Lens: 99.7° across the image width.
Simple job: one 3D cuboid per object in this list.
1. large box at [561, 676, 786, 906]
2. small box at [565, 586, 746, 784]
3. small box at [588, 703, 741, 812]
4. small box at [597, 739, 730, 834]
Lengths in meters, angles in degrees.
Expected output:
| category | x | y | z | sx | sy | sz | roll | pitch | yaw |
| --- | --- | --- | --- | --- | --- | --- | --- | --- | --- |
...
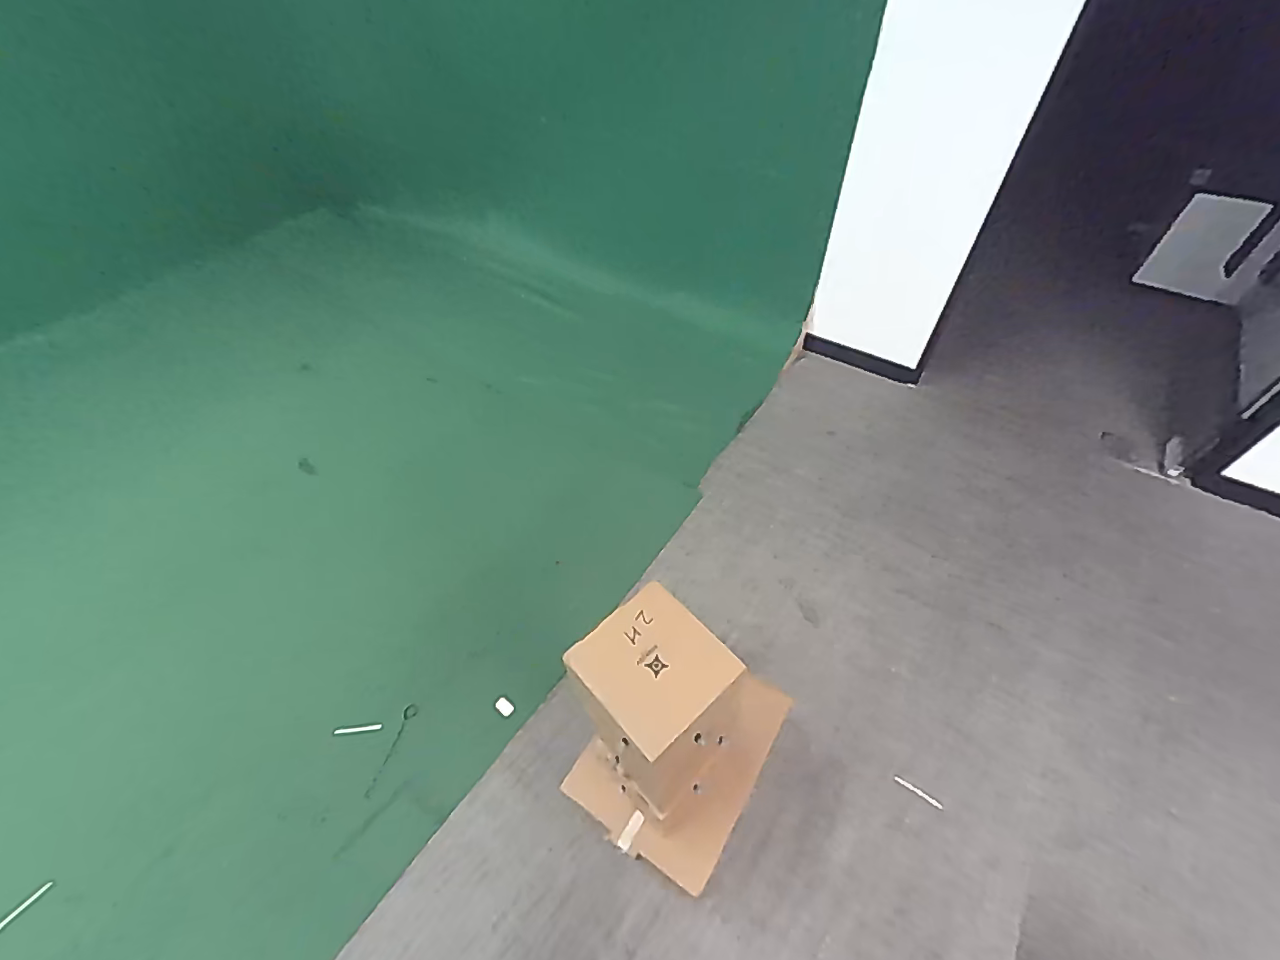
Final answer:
| category | x | y | z | sx | sy | sz | roll | pitch | yaw |
| --- | --- | --- | --- | --- | --- | --- | --- | --- | --- |
| large box | 0.081 | 0.630 | 1.204 | 0.320 | 0.320 | 0.408 | 26 | 55 | 22 |
| small box | 0.022 | 0.288 | 0.749 | 0.168 | 0.176 | 0.179 | -35 | 57 | -24 |
| small box | 0.037 | 0.395 | 0.874 | 0.179 | 0.176 | 0.168 | -36 | 57 | -23 |
| small box | 0.041 | 0.507 | 0.992 | 0.168 | 0.176 | 0.179 | 36 | 61 | 28 |
